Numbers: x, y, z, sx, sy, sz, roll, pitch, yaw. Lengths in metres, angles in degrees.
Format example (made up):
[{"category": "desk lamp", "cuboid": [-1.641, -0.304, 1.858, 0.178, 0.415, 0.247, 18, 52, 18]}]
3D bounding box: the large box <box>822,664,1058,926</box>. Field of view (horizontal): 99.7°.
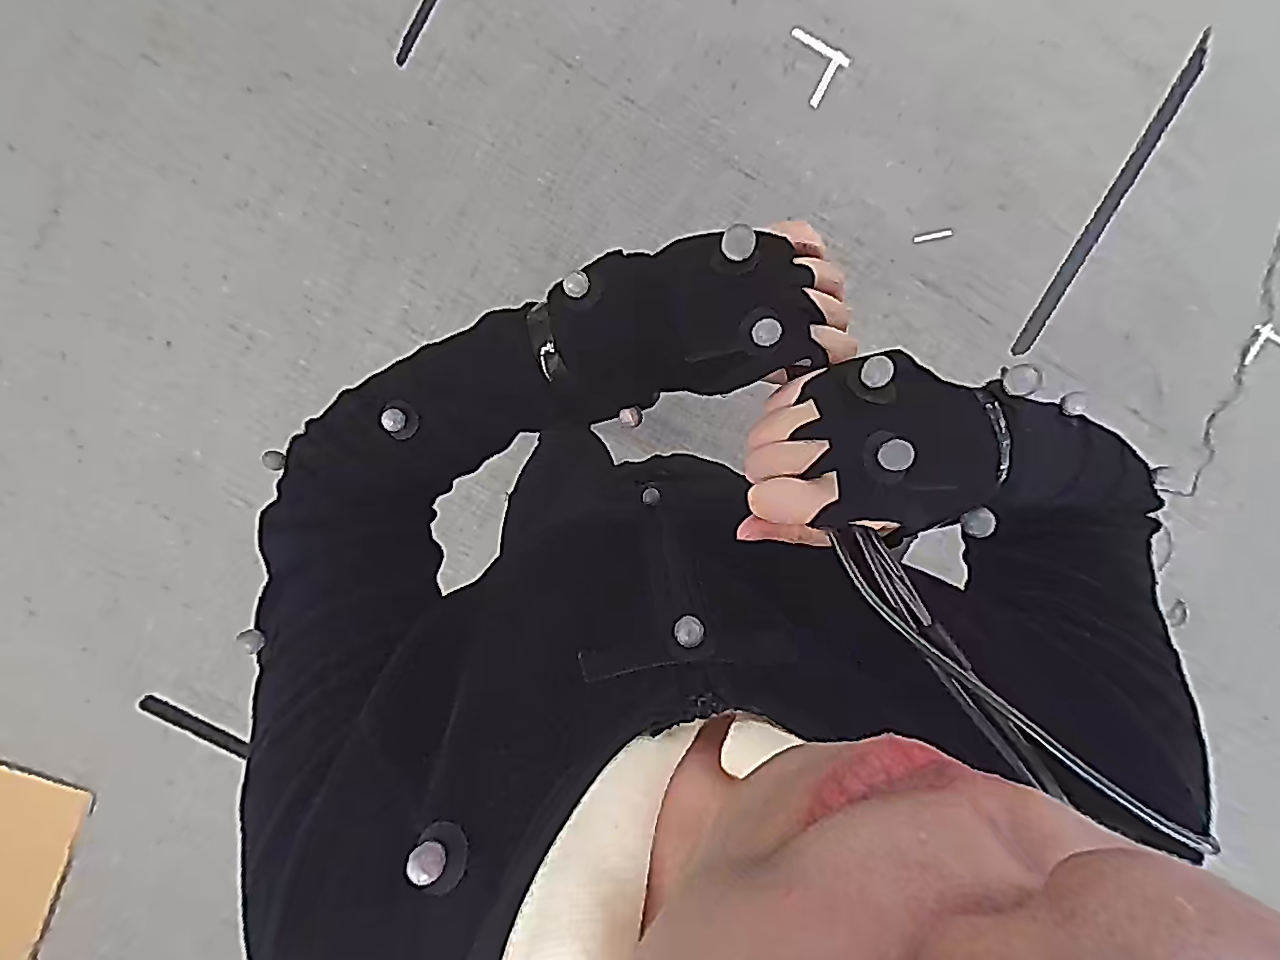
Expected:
[{"category": "large box", "cuboid": [0.656, 0.690, 1.243, 0.320, 0.320, 0.408, 11, 94, -3]}]
